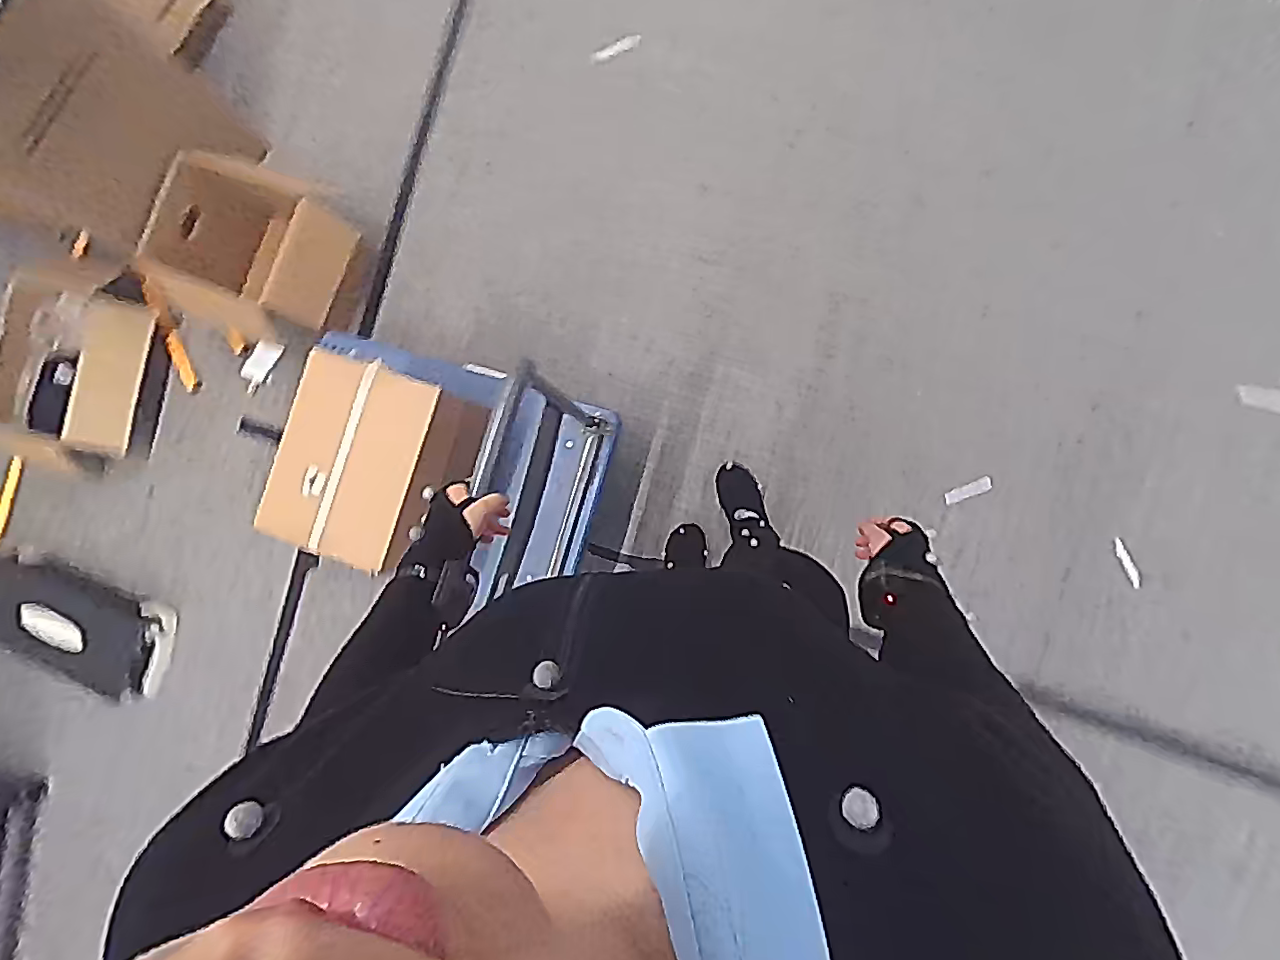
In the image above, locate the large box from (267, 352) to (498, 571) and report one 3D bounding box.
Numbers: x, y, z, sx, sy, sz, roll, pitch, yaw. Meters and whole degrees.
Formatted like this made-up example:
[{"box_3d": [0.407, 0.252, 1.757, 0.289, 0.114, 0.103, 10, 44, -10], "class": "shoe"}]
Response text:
[{"box_3d": [-0.582, -0.042, 1.281, 0.320, 0.320, 0.408, 18, 91, 10], "class": "large box"}]
